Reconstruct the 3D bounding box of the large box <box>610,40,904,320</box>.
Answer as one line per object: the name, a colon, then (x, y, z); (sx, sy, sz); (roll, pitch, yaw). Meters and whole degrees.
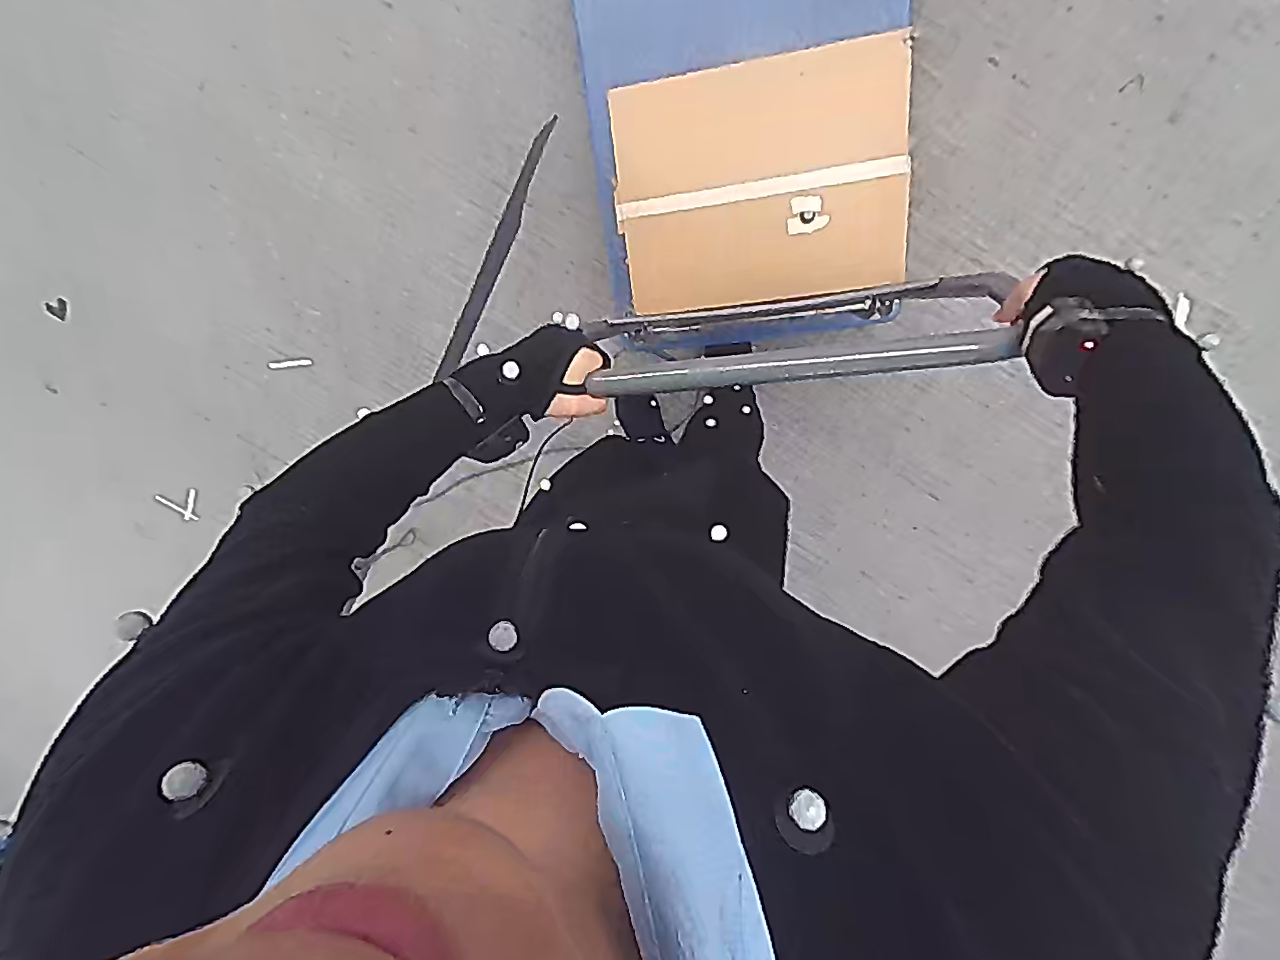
large box: (0.188, -0.466, 0.926); (0.408, 0.320, 0.320); (-4, 110, 10)
